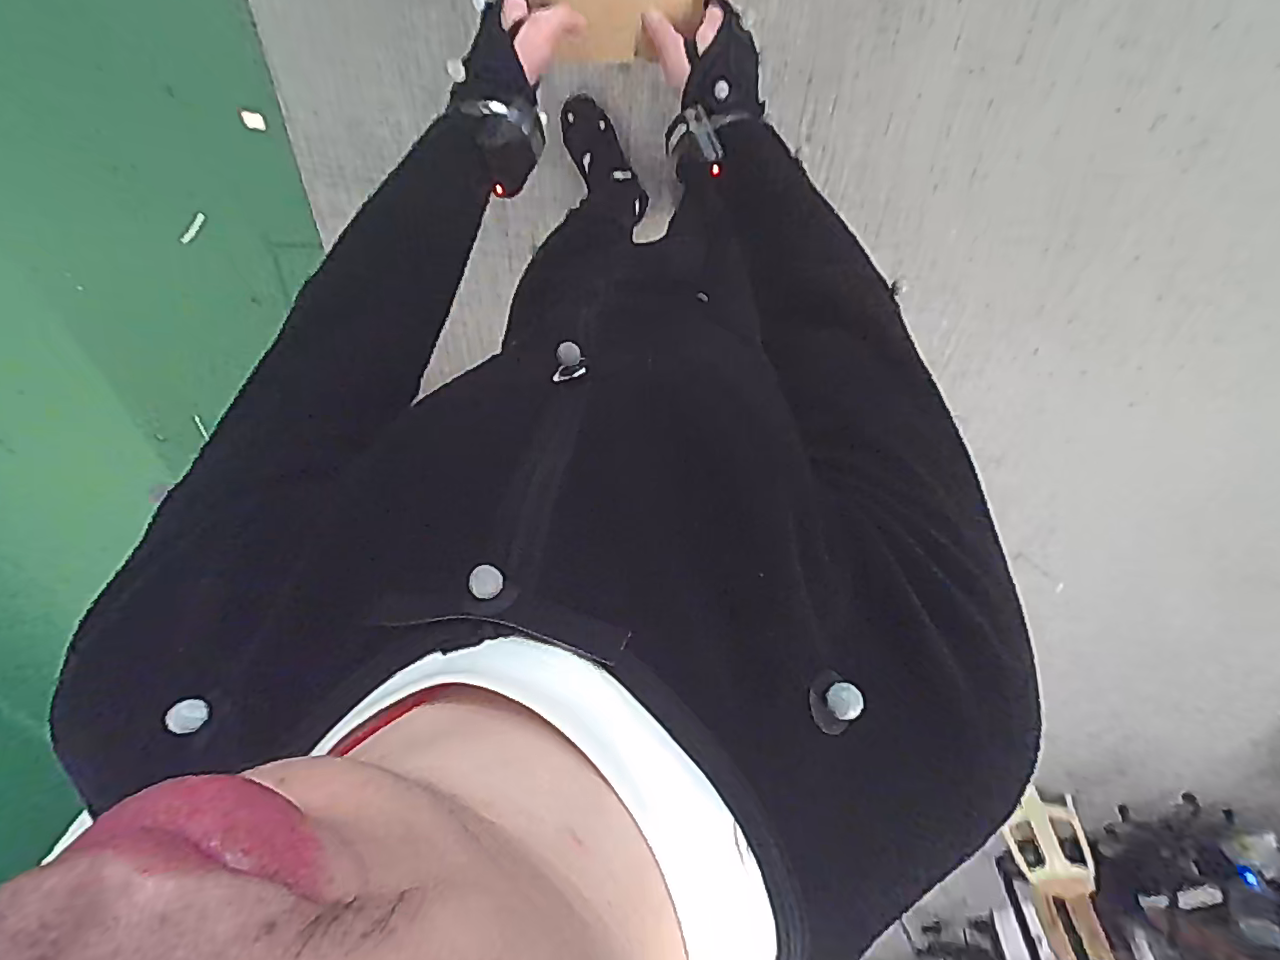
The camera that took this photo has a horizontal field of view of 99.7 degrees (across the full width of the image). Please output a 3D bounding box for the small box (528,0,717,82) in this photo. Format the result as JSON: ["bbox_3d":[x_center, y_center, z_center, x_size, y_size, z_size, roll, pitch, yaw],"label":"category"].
[{"bbox_3d":[-0.014,-0.508,0.536,0.179,0.176,0.168,2,130,1],"label":"small box"}]
